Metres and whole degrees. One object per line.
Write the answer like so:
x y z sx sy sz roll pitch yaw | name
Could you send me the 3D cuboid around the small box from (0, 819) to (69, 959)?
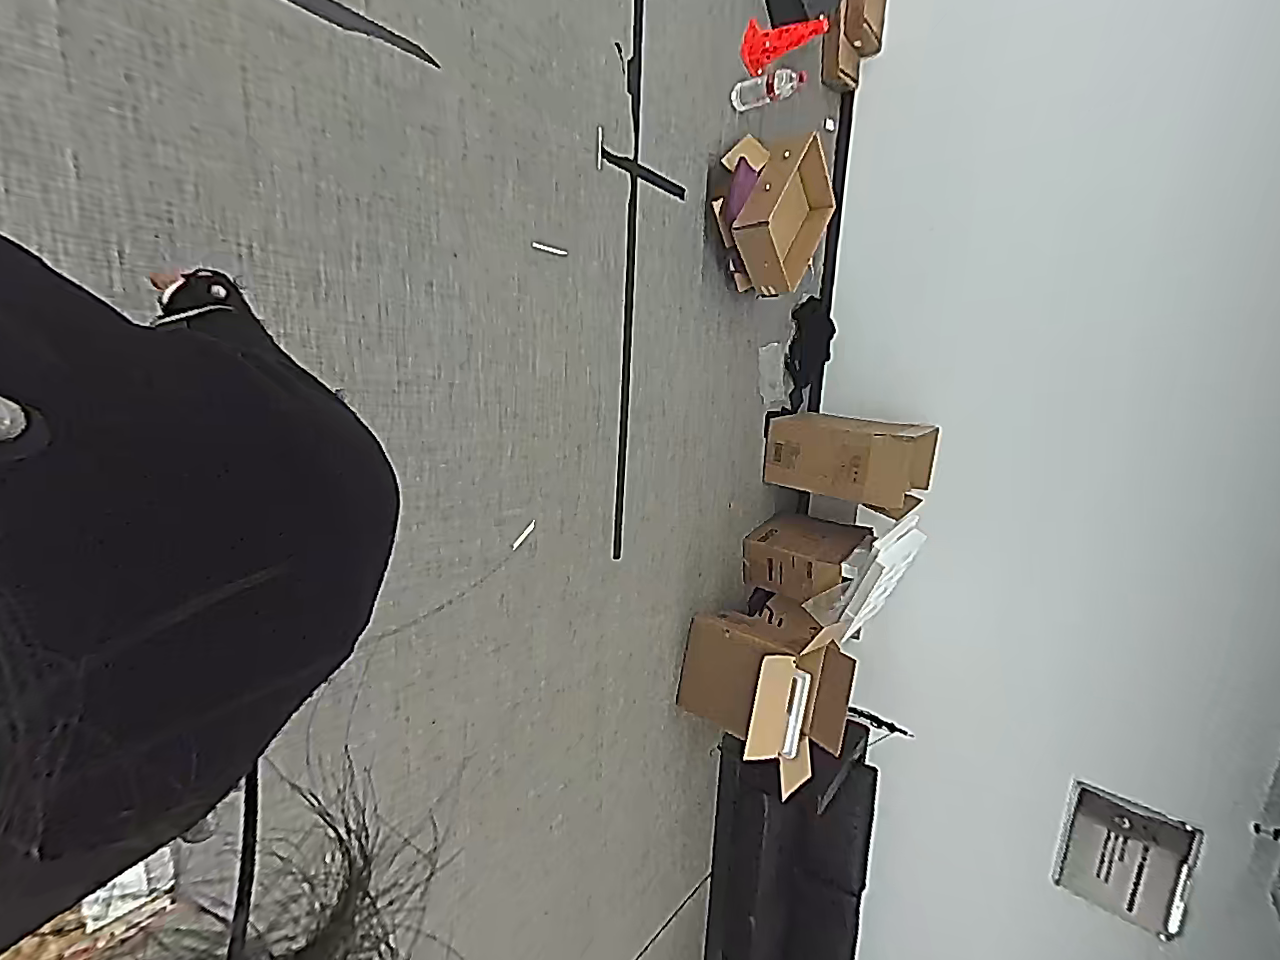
-0.834 0.573 0.667 0.168 0.176 0.179 -10 103 -49 | small box
